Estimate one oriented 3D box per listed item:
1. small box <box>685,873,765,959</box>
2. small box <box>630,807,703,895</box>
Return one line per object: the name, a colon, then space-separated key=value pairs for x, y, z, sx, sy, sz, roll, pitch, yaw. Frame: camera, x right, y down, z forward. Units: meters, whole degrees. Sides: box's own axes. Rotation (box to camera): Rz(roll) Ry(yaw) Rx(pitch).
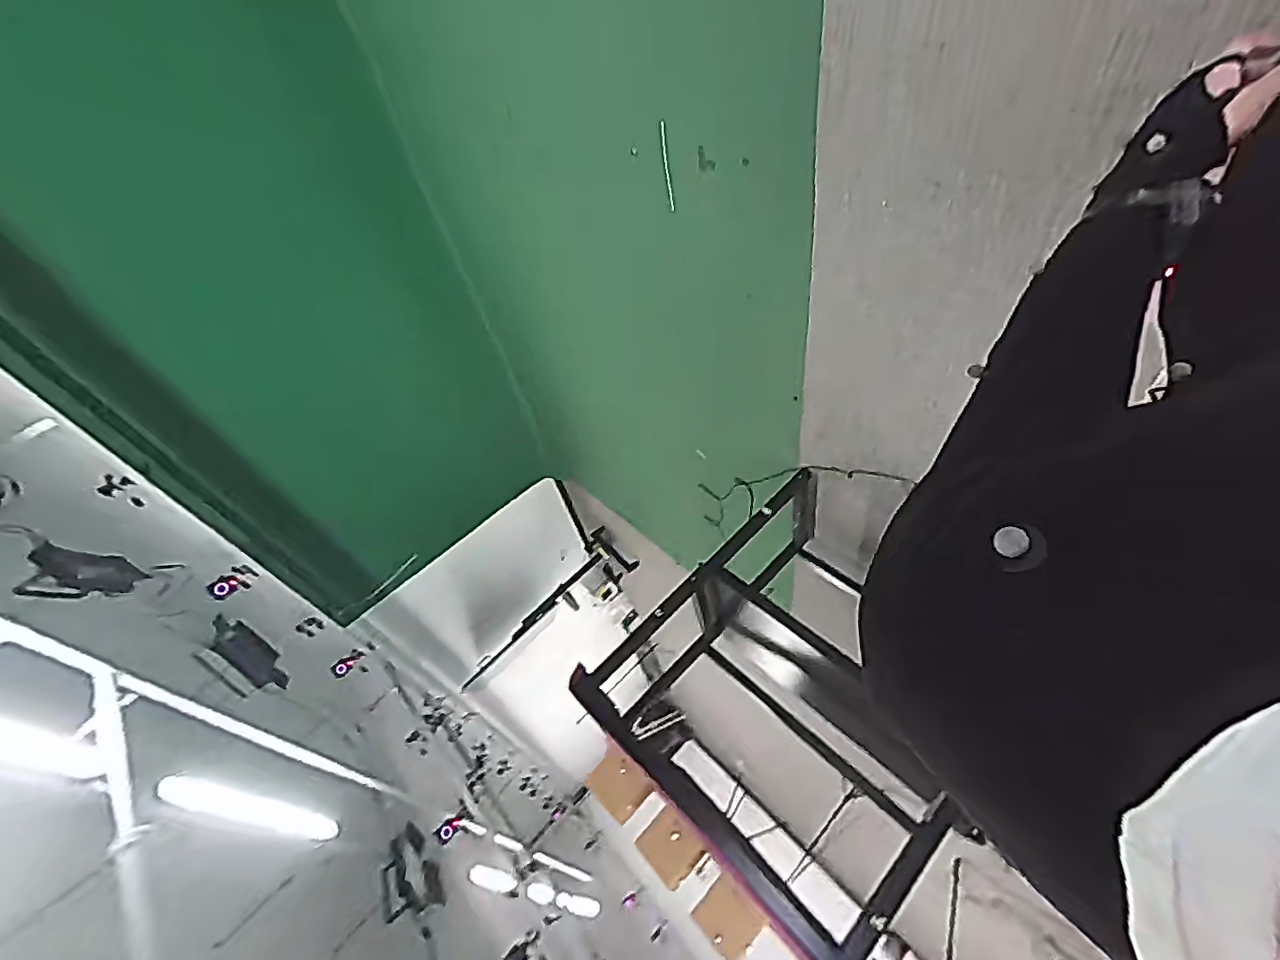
small box: x=0.264 y=1.338 z=1.638 sx=0.168 sy=0.176 sz=0.179 roll=33 pitch=155 yaw=36
small box: x=0.094 y=1.224 z=1.787 sx=0.168 sy=0.176 sz=0.179 roll=34 pitch=154 yaw=35
